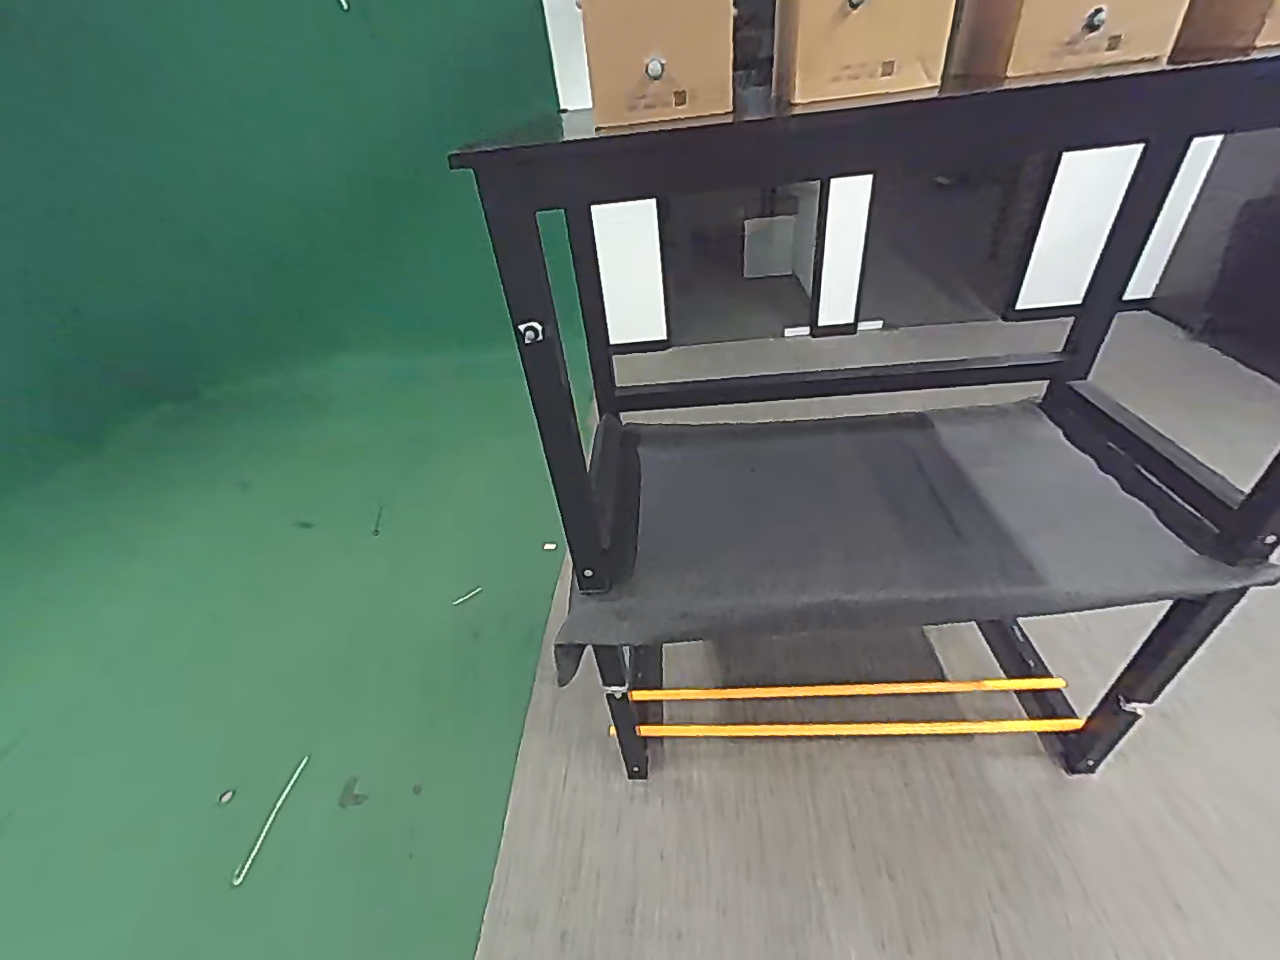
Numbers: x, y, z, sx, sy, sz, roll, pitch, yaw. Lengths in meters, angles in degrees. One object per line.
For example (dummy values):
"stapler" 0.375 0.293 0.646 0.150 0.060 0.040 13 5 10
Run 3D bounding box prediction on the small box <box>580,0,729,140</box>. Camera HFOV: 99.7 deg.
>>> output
"small box" 0.020 -0.535 0.676 0.168 0.176 0.179 -4 37 4

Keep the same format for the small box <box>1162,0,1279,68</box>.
"small box" 0.737 -0.564 0.586 0.168 0.176 0.179 4 37 14
